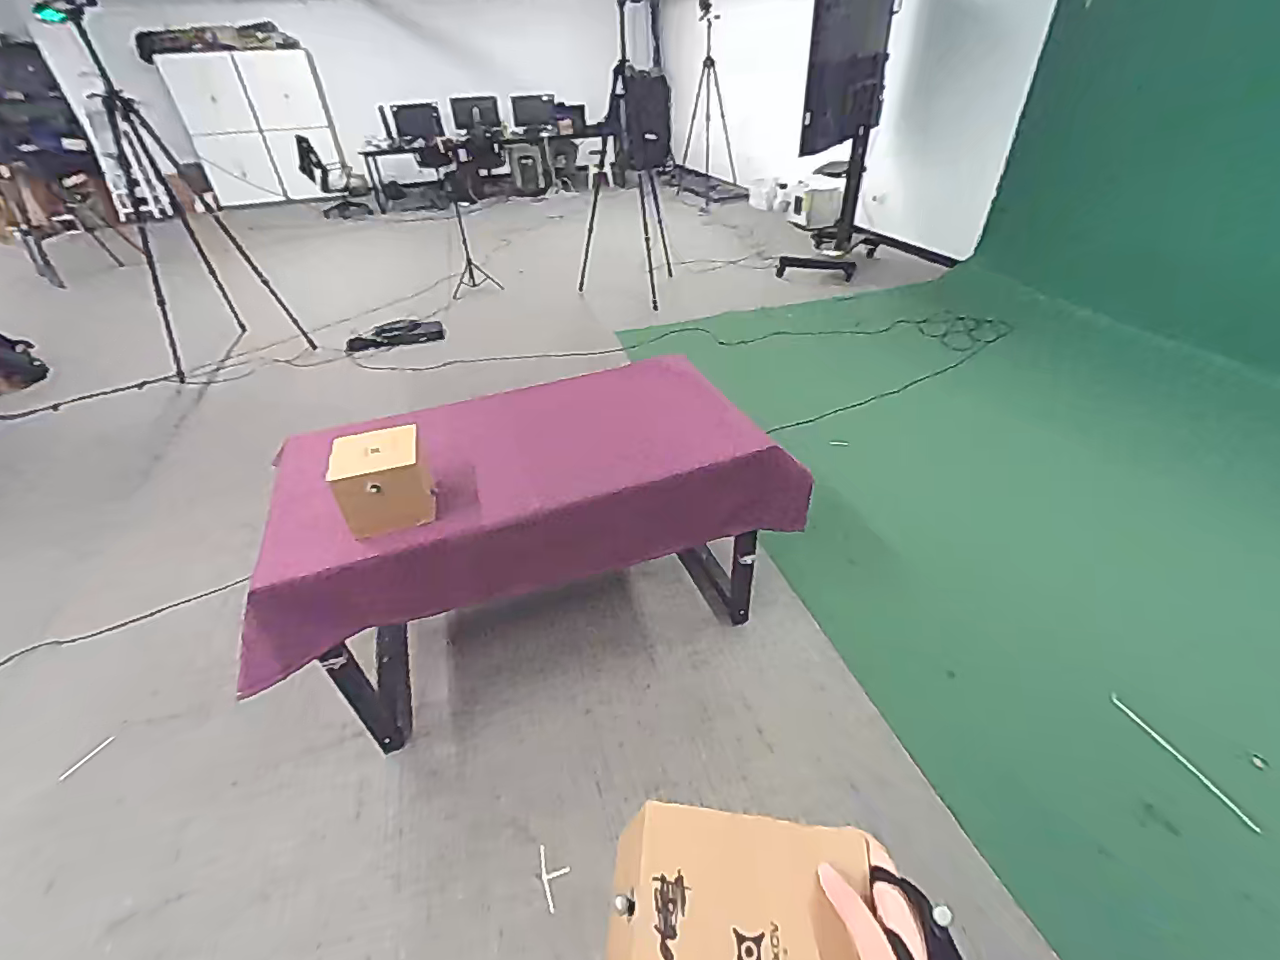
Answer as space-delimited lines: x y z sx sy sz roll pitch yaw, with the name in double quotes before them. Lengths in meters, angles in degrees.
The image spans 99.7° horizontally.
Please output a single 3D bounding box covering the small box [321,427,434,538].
"small box" -0.571 0.008 1.199 0.179 0.176 0.168 -12 39 -13
